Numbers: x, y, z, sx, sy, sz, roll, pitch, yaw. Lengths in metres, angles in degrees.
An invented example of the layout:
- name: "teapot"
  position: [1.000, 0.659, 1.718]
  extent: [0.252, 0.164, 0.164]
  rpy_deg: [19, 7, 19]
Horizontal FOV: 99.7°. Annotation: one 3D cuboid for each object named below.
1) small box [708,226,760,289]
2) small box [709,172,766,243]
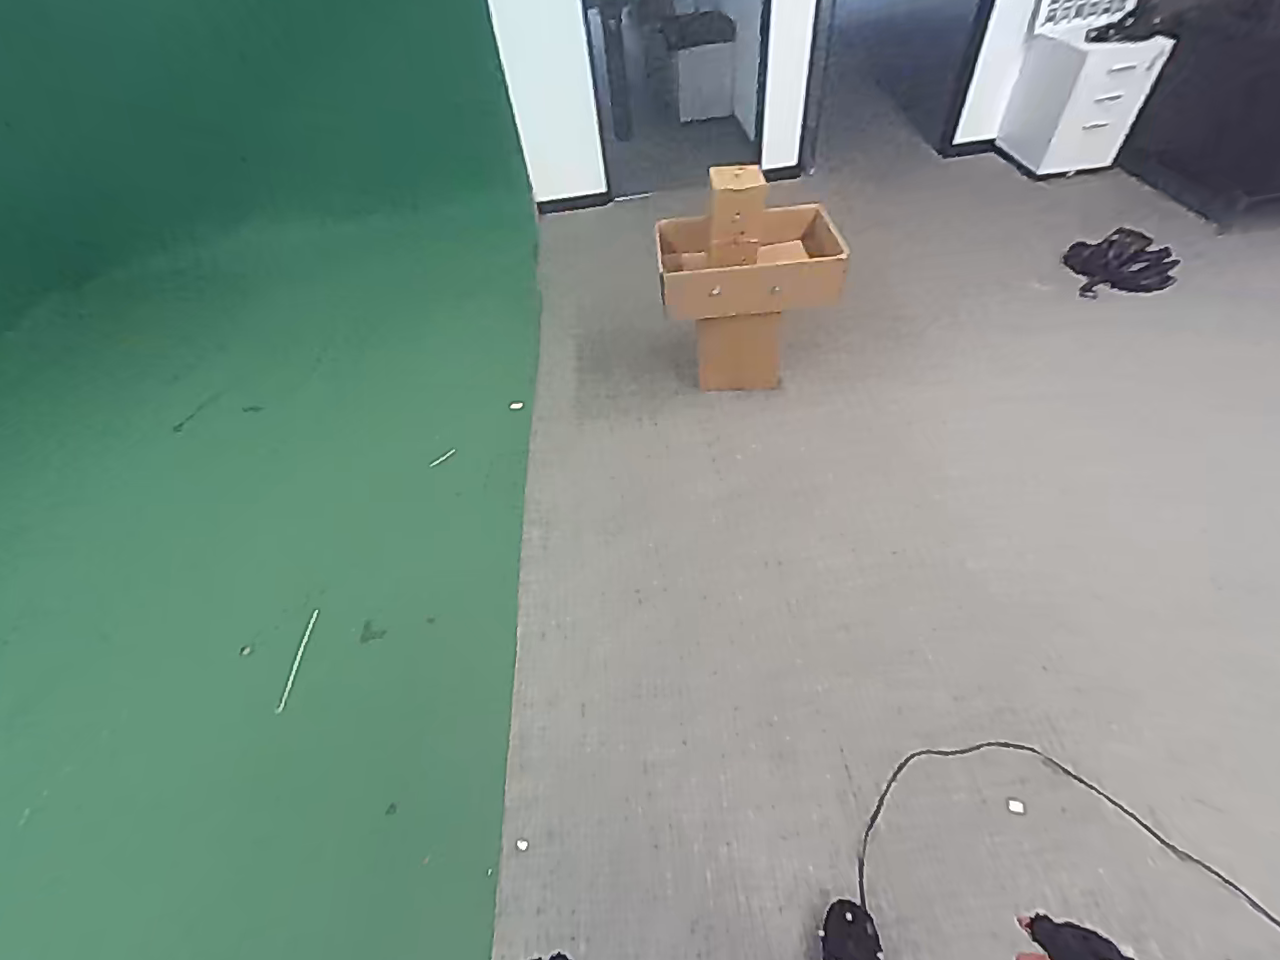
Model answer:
- name: "small box"
  position: [0.332, -0.798, 1.939]
  extent: [0.168, 0.176, 0.179]
  rpy_deg: [-1, 47, 2]
- name: "small box"
  position: [0.324, -0.914, 1.823]
  extent: [0.168, 0.176, 0.179]
  rpy_deg: [-1, 50, 2]
